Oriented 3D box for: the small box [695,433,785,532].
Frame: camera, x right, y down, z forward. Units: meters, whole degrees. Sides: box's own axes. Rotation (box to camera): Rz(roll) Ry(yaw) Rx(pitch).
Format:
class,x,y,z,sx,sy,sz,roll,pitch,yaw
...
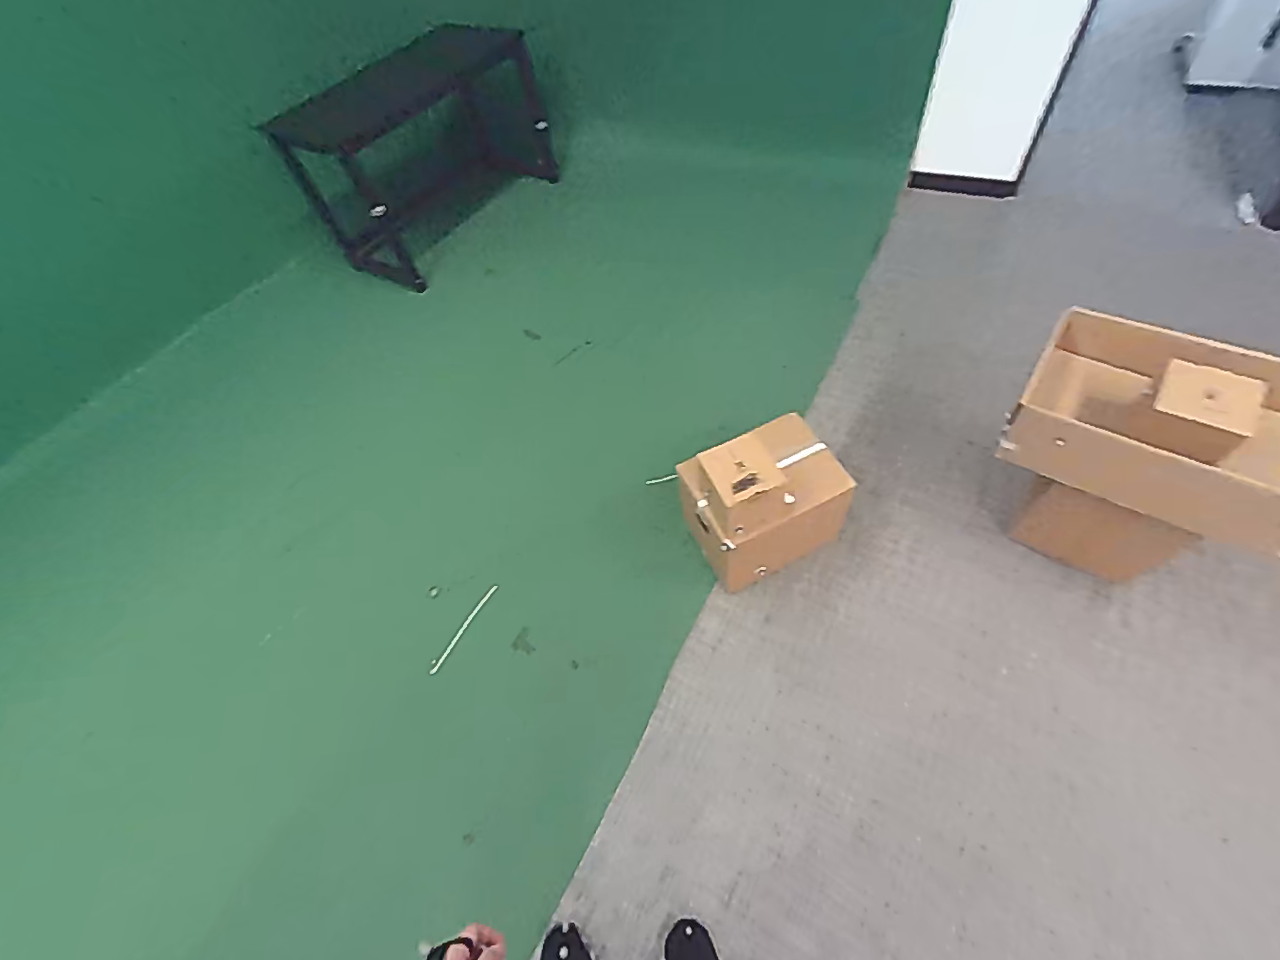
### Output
class,x,y,z,sx,sy,sz,roll,pitch,yaw
small box,0.255,0.015,1.399,0.168,0.176,0.179,-22,55,-7
